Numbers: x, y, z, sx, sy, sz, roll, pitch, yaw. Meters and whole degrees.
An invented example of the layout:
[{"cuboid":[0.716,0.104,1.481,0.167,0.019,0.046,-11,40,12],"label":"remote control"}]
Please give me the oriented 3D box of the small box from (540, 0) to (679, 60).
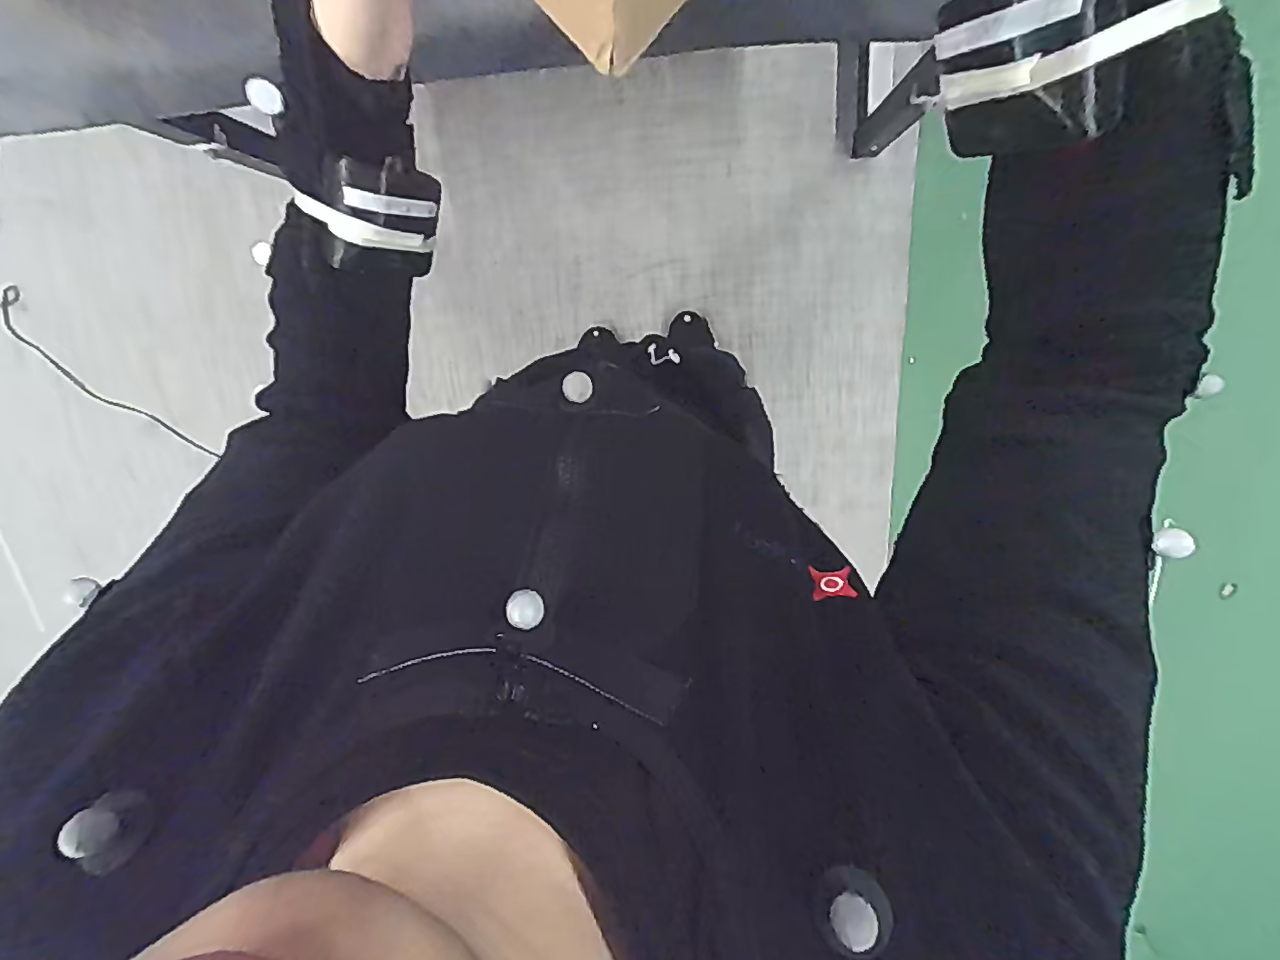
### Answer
[{"cuboid":[-0.007,-0.309,0.178,0.168,0.176,0.179,42,95,-9],"label":"small box"}]
